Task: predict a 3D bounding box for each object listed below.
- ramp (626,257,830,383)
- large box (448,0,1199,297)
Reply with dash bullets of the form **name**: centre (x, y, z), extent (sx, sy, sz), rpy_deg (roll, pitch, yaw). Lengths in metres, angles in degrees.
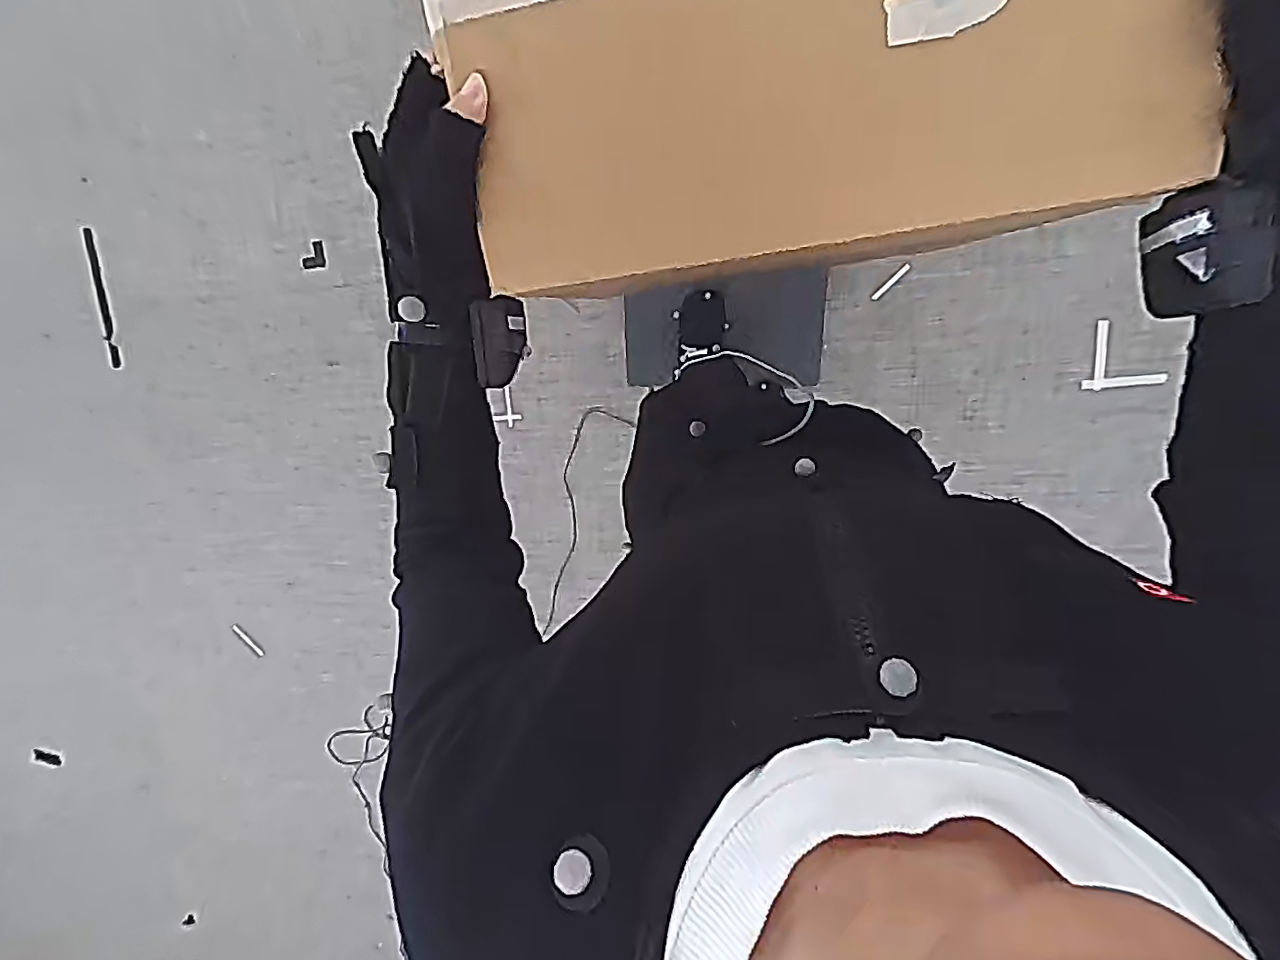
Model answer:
- **ramp**: centre (0.194, -0.715, 1.215), extent (0.509, 0.206, 0.991), rpy_deg (-1, 103, 8)
- **large box**: centre (0.097, -0.340, 0.430), extent (0.408, 0.320, 0.320), rpy_deg (-6, 107, 9)
